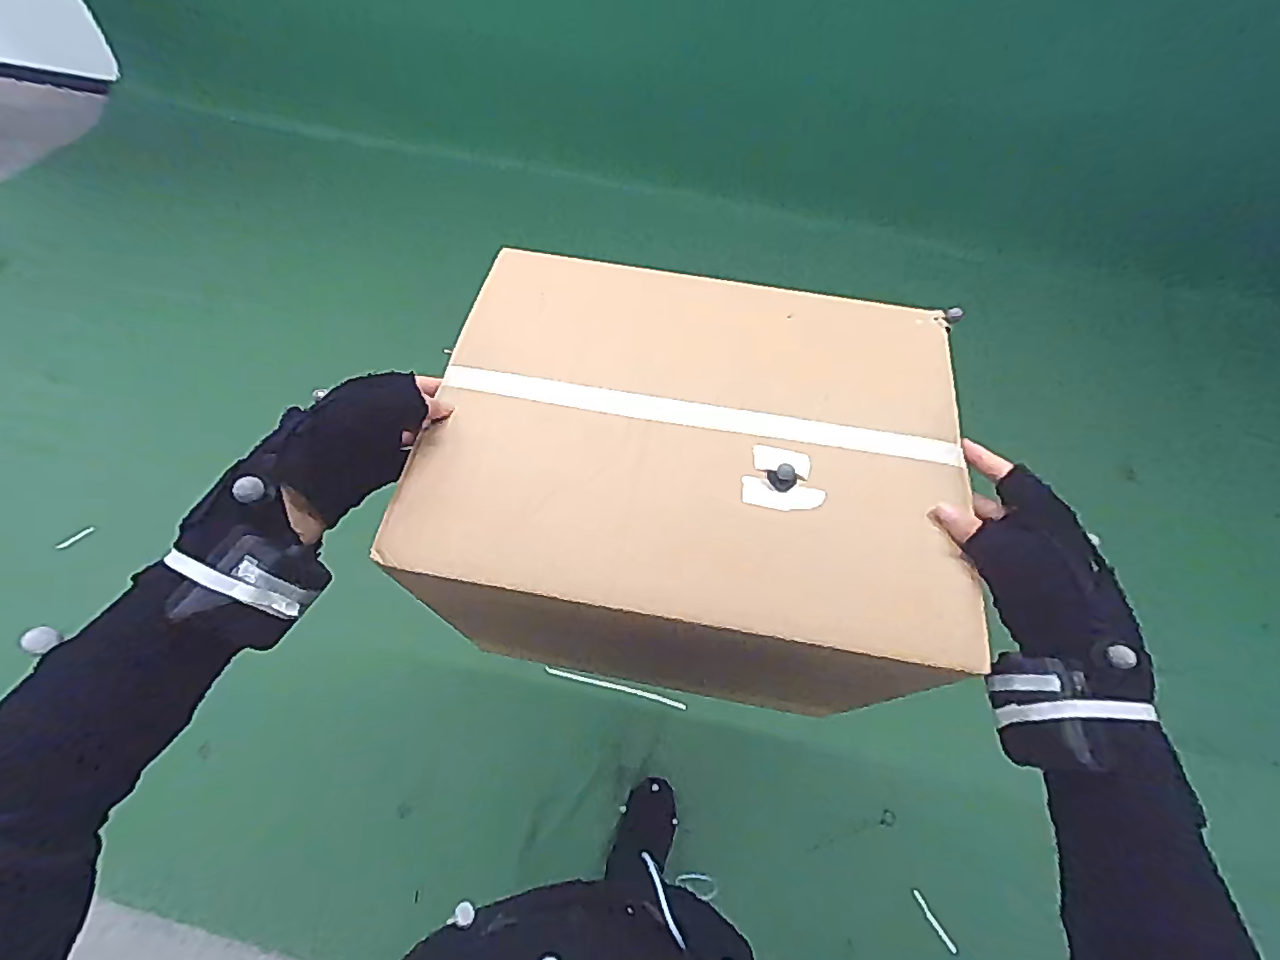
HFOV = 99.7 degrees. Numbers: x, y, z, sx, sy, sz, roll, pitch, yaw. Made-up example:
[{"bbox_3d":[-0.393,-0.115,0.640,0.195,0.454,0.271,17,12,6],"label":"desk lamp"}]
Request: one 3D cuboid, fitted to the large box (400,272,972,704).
[{"bbox_3d":[0.043,0.028,0.568,0.408,0.320,0.320,9,62,3],"label":"large box"}]
